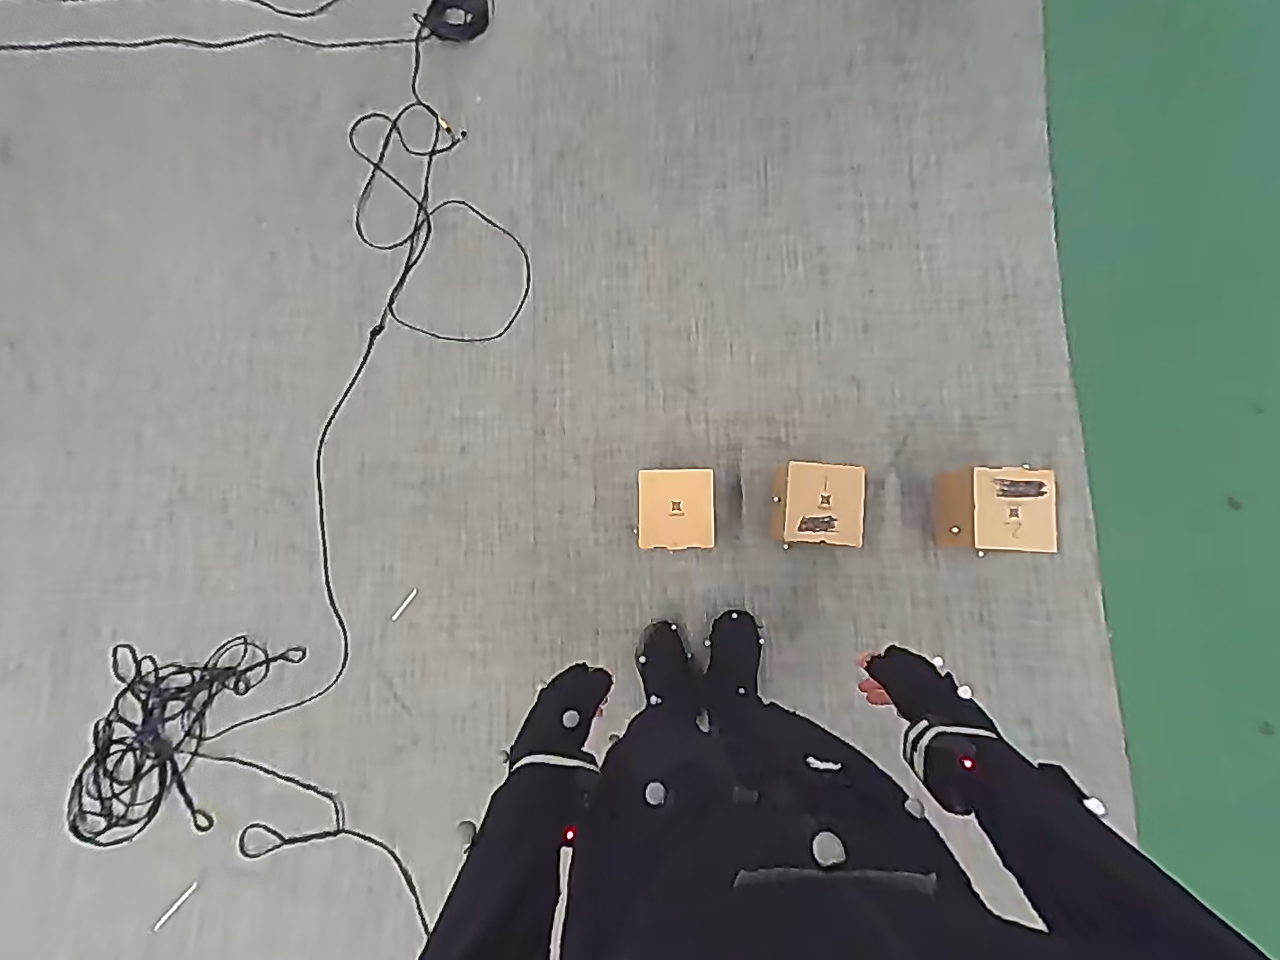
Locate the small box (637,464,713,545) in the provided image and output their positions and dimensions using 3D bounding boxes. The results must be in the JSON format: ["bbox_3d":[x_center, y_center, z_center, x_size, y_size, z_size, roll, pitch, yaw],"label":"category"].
[{"bbox_3d":[0.081,0.061,1.260,0.168,0.176,0.179,-1,83,4],"label":"small box"}]

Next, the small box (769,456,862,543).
[{"bbox_3d":[0.394,0.050,1.237,0.168,0.176,0.179,5,82,4],"label":"small box"}]
